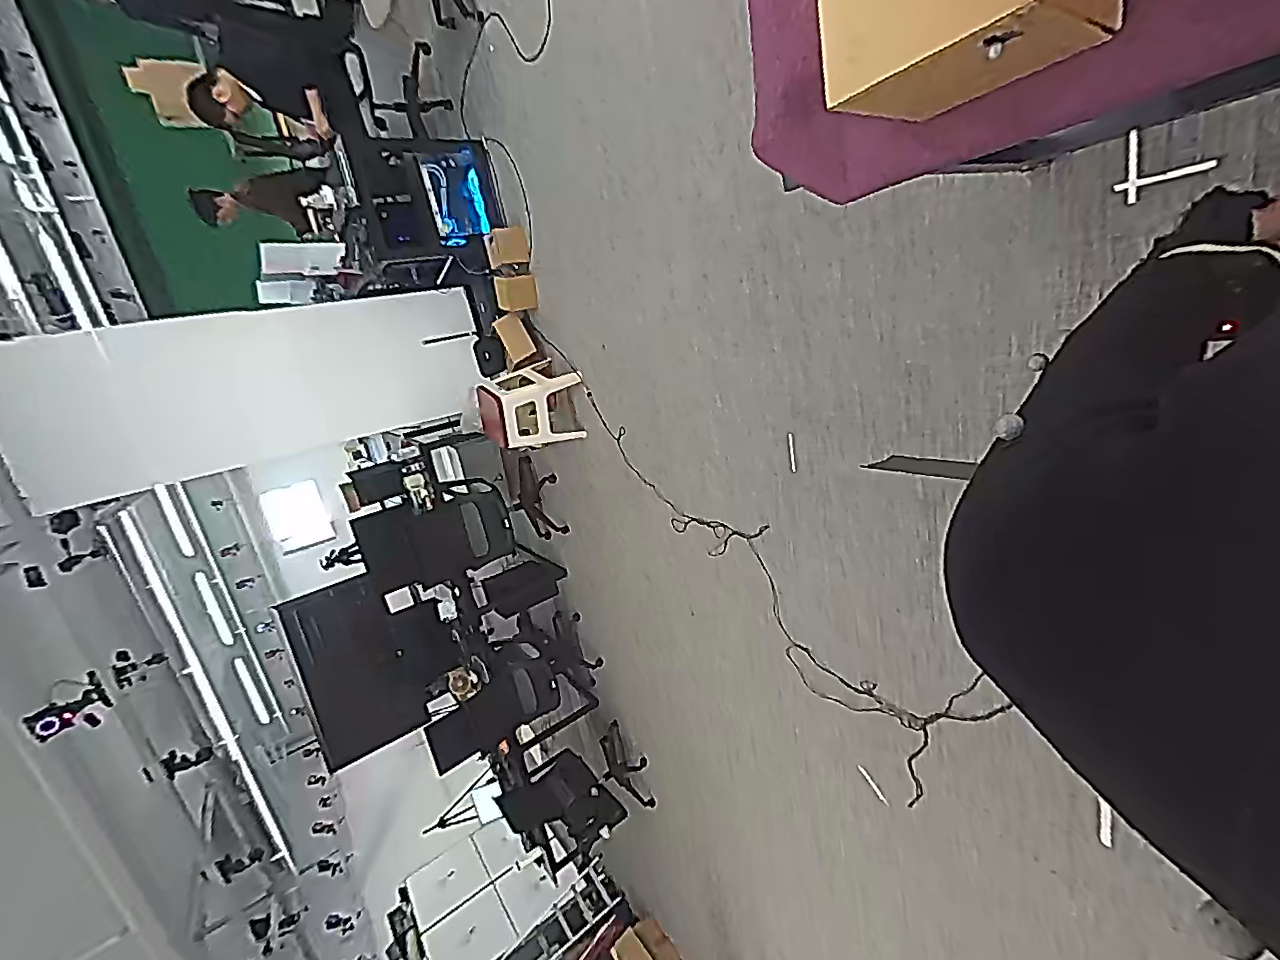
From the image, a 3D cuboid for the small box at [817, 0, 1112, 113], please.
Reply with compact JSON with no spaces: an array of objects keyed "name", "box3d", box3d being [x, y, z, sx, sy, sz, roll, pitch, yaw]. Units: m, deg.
[{"name":"small box","box3d":[0.279,-0.452,0.477,0.179,0.176,0.168,10,115,55]}]
